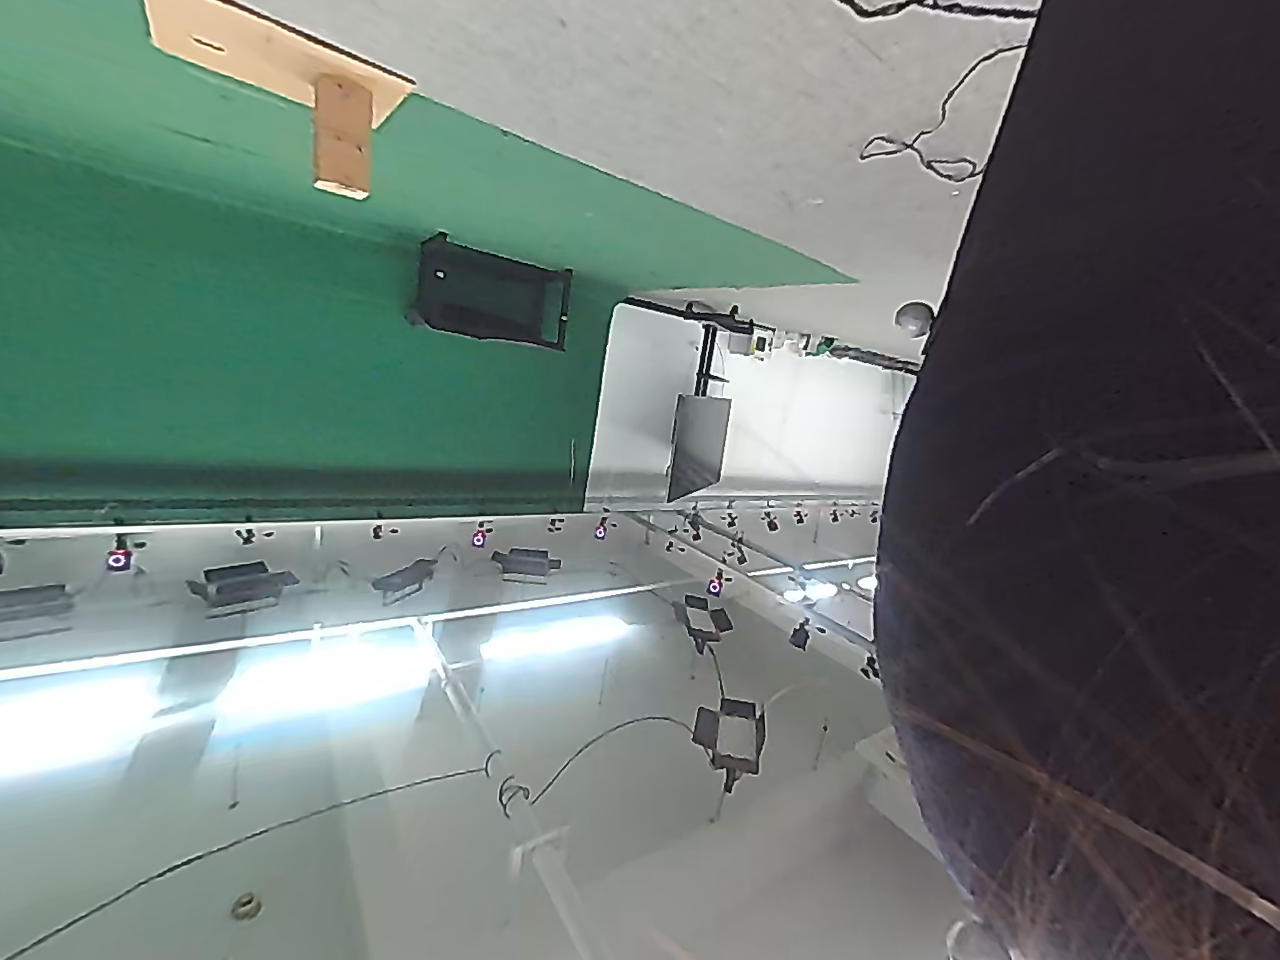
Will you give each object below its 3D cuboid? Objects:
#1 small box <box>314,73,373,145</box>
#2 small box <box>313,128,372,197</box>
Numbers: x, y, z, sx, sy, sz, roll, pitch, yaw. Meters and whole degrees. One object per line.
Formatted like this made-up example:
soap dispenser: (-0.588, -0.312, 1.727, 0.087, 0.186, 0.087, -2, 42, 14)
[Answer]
small box: (-1.073, -1.324, 1.954, 0.168, 0.176, 0.179, -1, -165, -37)
small box: (-1.097, -1.166, 1.989, 0.168, 0.176, 0.179, -1, -164, -39)
